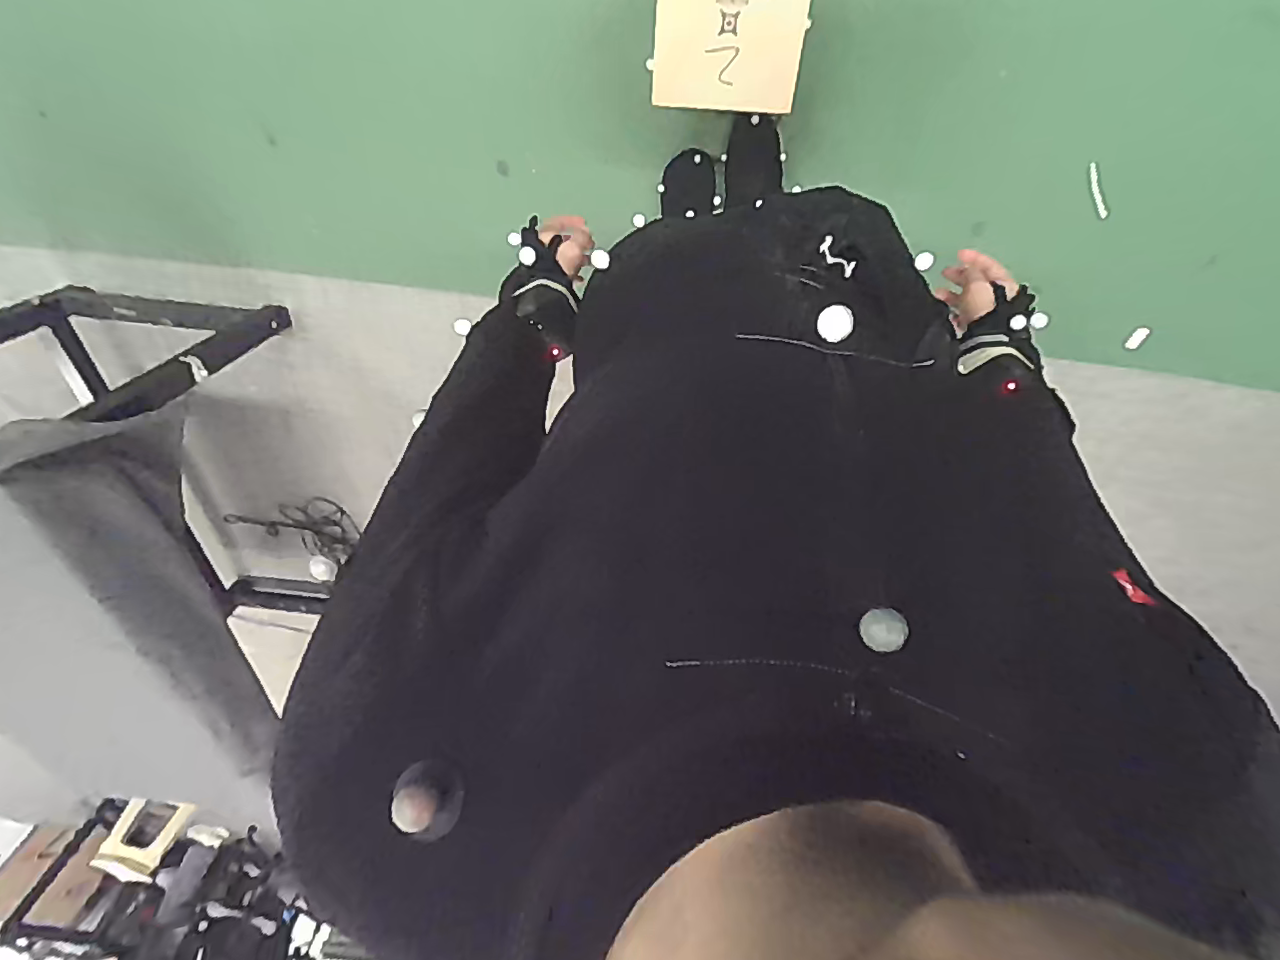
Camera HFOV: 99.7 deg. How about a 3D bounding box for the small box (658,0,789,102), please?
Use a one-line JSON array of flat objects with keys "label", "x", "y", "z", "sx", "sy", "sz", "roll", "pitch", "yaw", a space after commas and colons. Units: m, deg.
[{"label": "small box", "x": 0.120, "y": -0.658, "z": 0.776, "sx": 0.168, "sy": 0.176, "sz": 0.179, "roll": 6, "pitch": 127, "yaw": 3}]
